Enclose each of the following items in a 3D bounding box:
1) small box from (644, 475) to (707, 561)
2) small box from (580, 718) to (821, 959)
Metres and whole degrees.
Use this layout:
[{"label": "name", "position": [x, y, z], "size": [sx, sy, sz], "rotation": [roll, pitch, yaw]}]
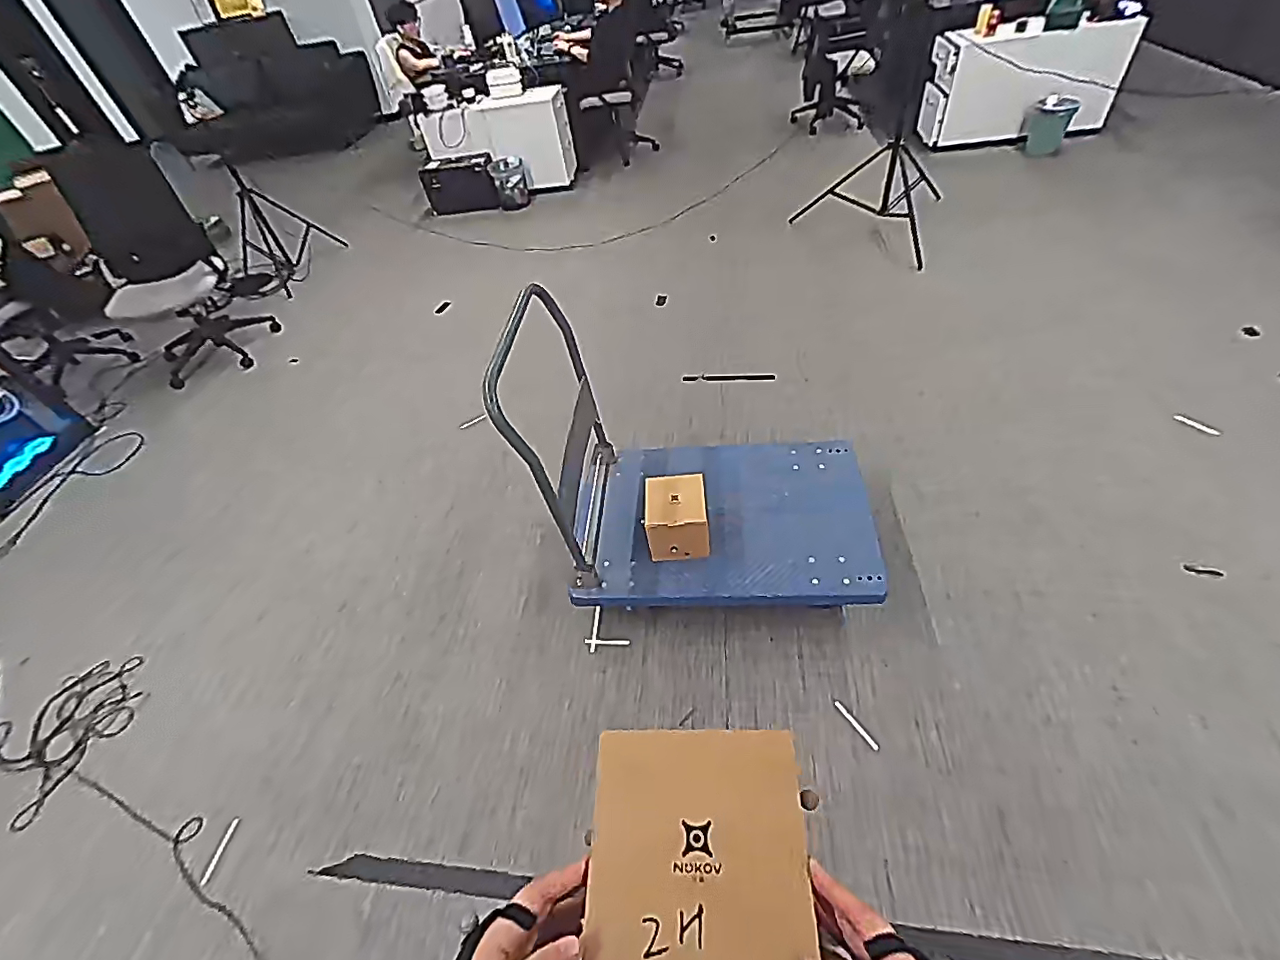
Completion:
[{"label": "small box", "position": [0.103, 0.110, 1.547], "size": [0.168, 0.176, 0.179], "rotation": [-5, 47, 6]}, {"label": "small box", "position": [0.055, 0.323, 0.470], "size": [0.168, 0.176, 0.179], "rotation": [-5, 51, 9]}]
